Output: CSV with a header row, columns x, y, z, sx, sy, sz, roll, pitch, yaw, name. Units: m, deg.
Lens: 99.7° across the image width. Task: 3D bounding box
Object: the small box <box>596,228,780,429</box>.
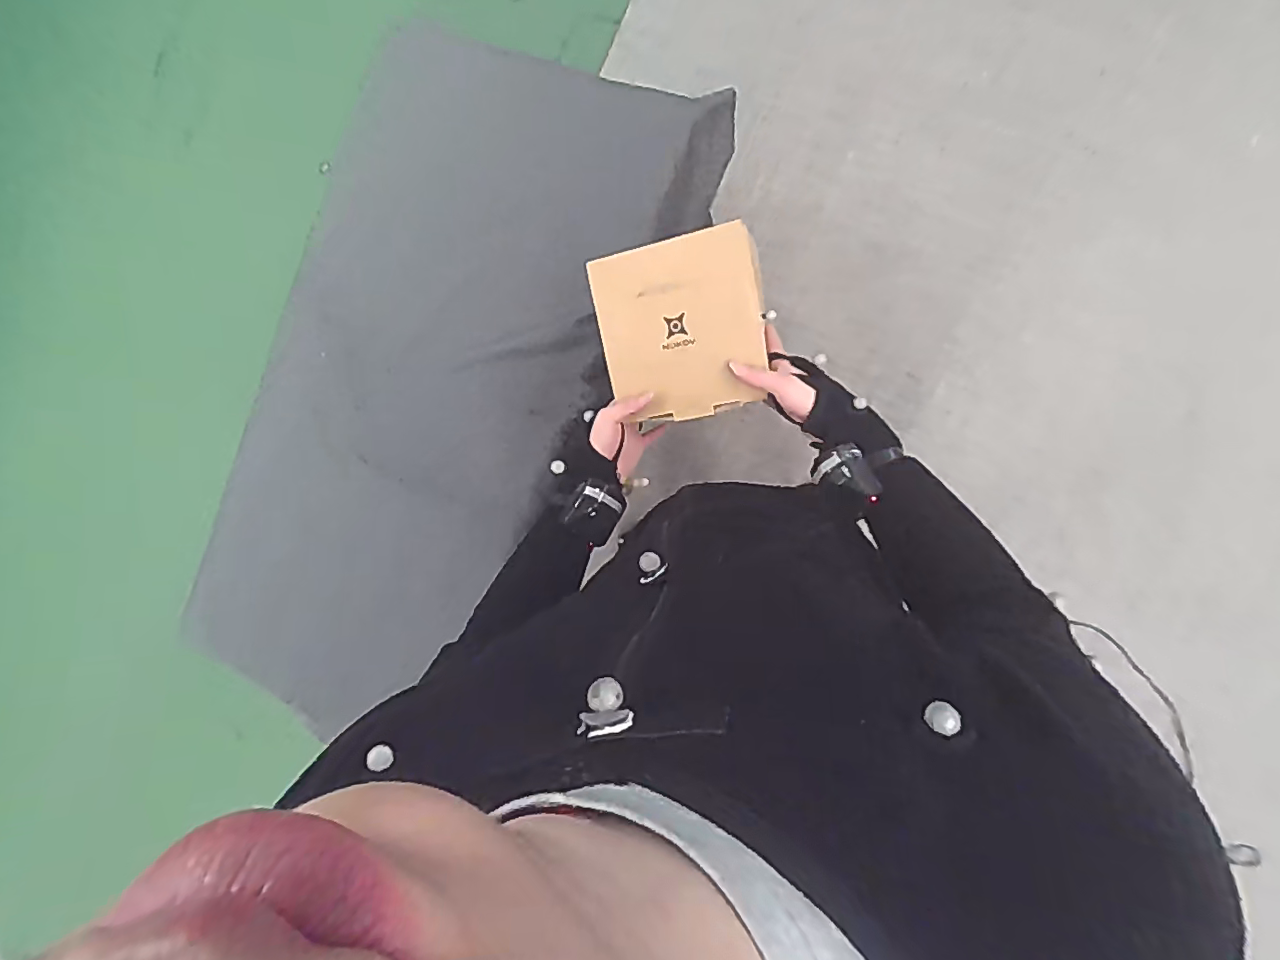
x,y,z,sx,sy,sz,roll,pitch,yaw,name
0.068,-0.171,0.635,0.168,0.176,0.179,-9,102,17,small box
